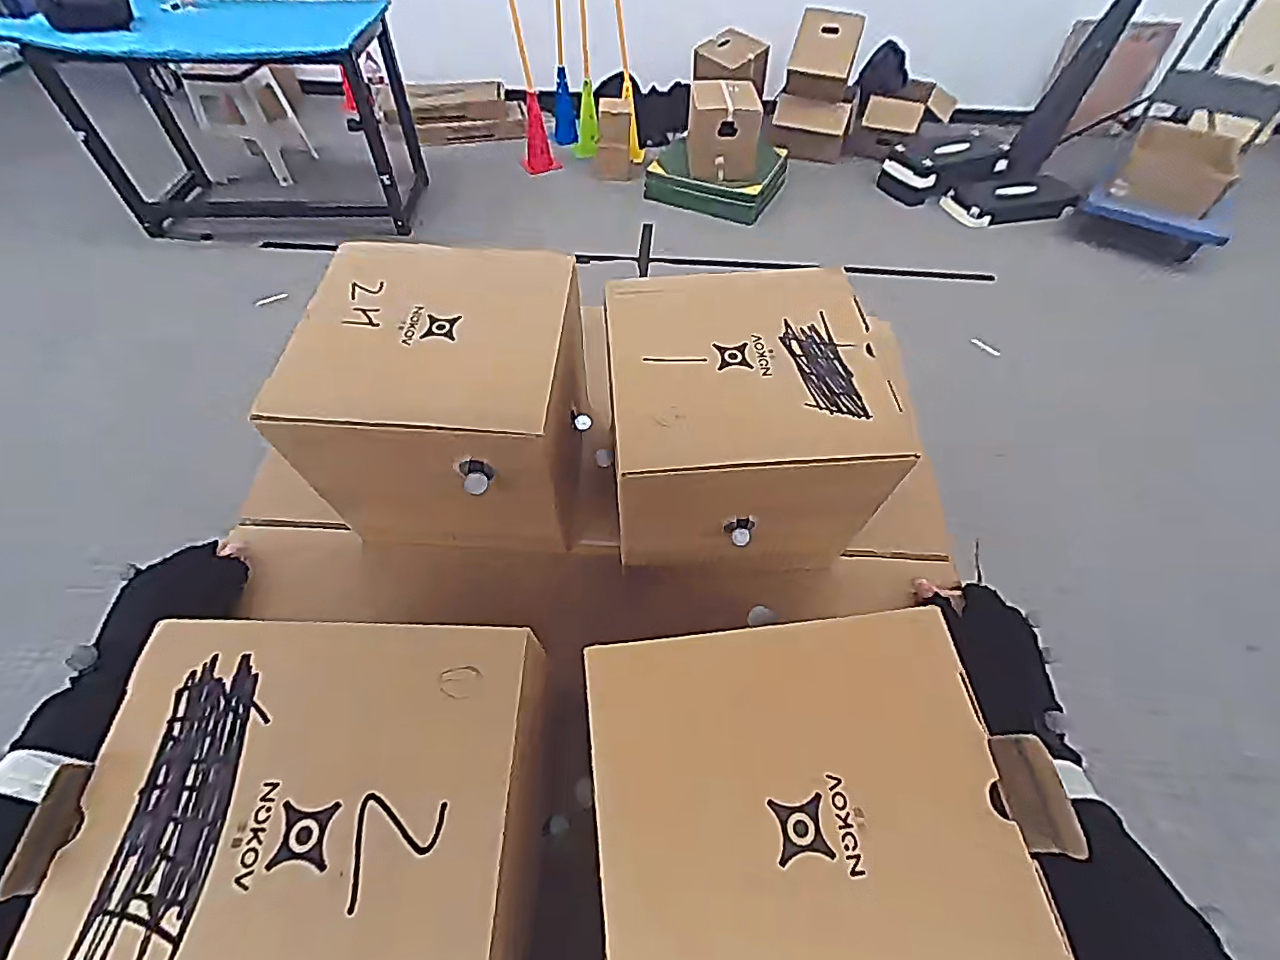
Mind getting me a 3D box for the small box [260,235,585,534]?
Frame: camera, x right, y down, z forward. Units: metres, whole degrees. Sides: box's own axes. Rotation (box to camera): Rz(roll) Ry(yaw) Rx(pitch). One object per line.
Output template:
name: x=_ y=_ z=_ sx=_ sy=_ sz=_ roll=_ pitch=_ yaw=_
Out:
small box: x=-0.141 y=-0.067 z=0.436 sx=0.179 sy=0.176 sz=0.168 roll=4 pitch=58 yaw=1
